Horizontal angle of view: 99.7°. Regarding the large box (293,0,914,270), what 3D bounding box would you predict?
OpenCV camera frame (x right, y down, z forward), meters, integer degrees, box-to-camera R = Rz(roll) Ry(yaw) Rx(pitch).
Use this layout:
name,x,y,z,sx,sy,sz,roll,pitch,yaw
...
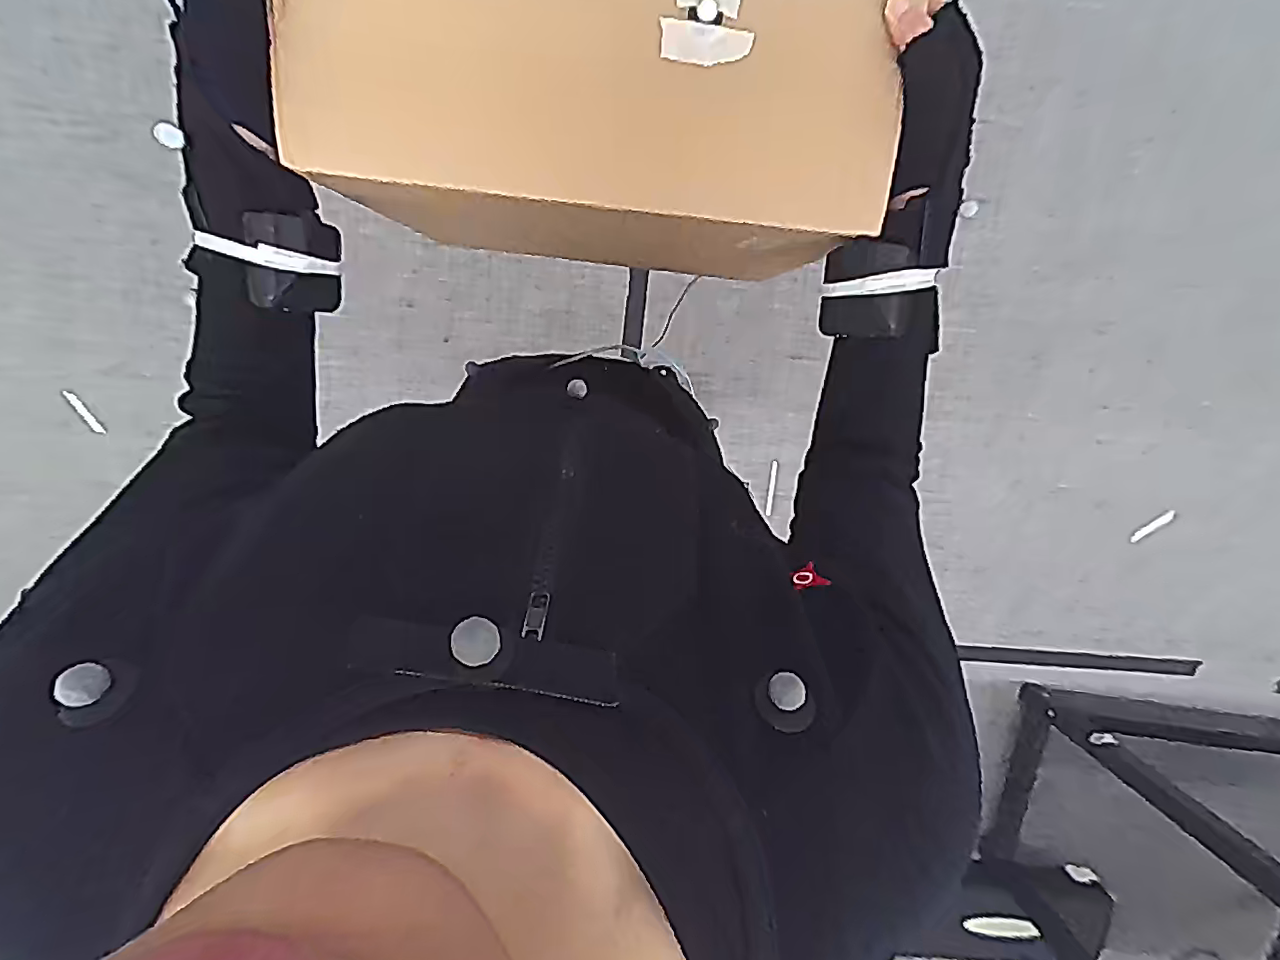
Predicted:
name,x,y,z,sx,sy,sz,roll,pitch,yaw
large box,-0.023,-0.383,0.480,0.408,0.320,0.320,5,106,-3
